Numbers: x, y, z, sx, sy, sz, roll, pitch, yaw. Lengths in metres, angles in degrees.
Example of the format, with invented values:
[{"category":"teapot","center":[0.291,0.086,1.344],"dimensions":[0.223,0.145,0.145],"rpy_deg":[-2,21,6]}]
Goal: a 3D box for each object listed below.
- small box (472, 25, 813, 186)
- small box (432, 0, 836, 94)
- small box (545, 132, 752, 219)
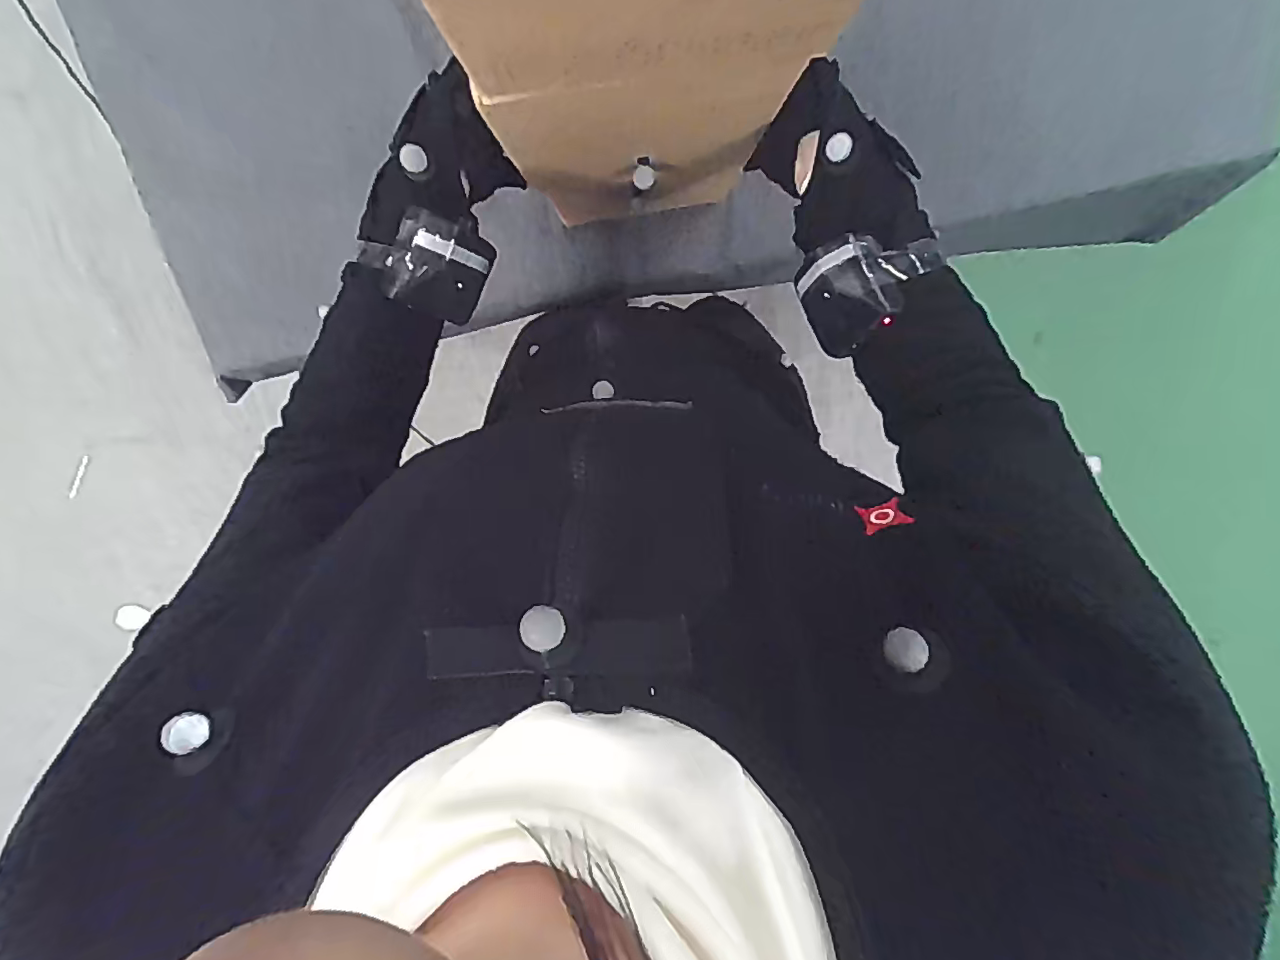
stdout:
[{"category":"small box","center":[-0.009,-0.302,0.334],"dimensions":[0.179,0.176,0.168],"rpy_deg":[-8,103,1]},{"category":"small box","center":[-0.002,-0.263,0.177],"dimensions":[0.179,0.176,0.168],"rpy_deg":[-7,103,2]},{"category":"small box","center":[-0.006,-0.352,0.490],"dimensions":[0.179,0.176,0.168],"rpy_deg":[-8,104,3]}]
